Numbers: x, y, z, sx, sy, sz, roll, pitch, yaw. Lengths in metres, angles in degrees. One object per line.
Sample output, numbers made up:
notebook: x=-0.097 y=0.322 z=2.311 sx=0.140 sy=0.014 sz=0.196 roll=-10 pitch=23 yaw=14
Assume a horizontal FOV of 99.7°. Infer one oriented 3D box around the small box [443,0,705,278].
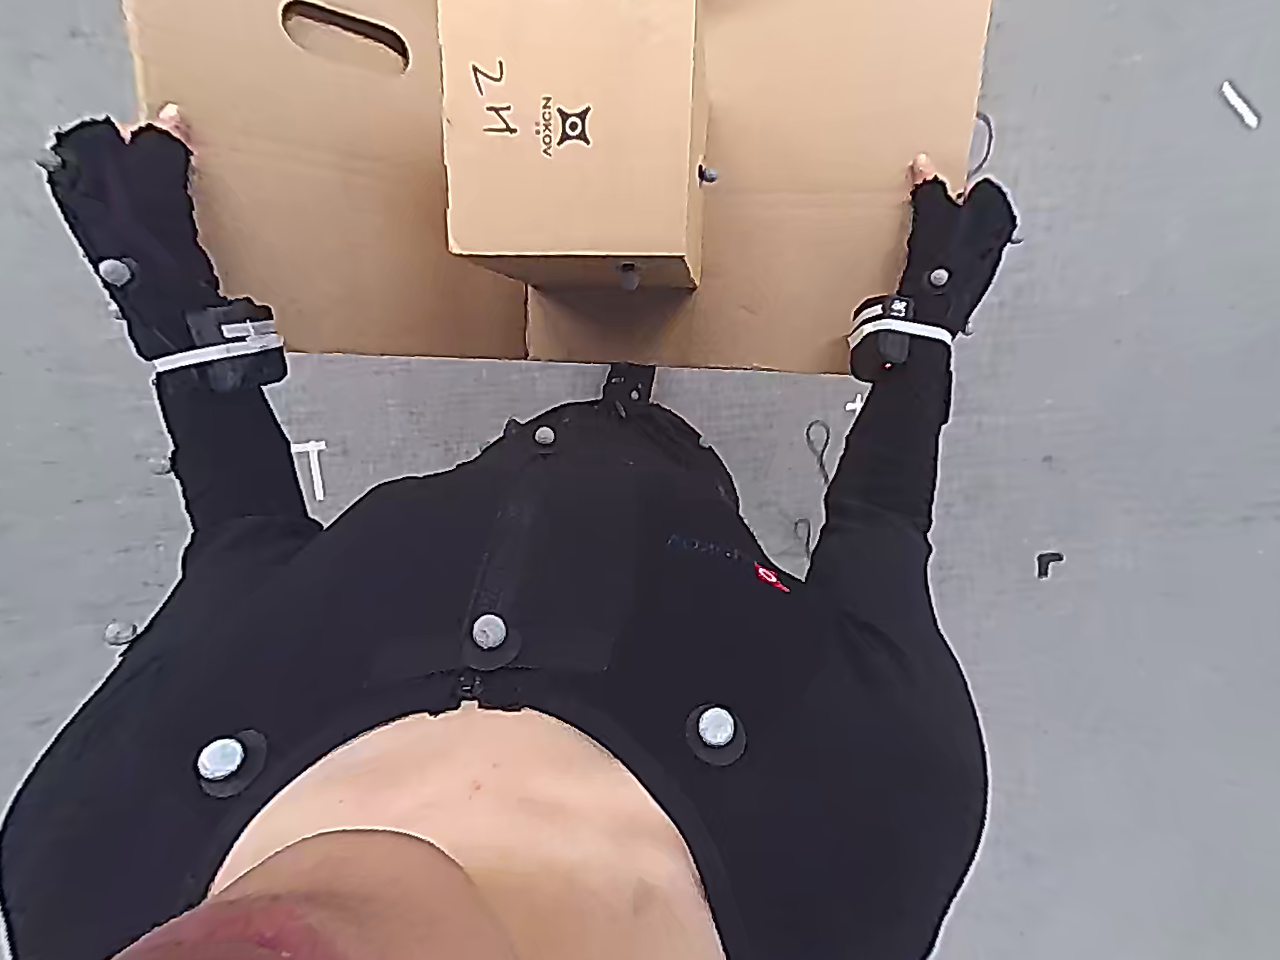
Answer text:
small box: x=-0.039 y=-0.268 z=0.450 sx=0.179 sy=0.176 sz=0.168 roll=4 pitch=103 yaw=9
